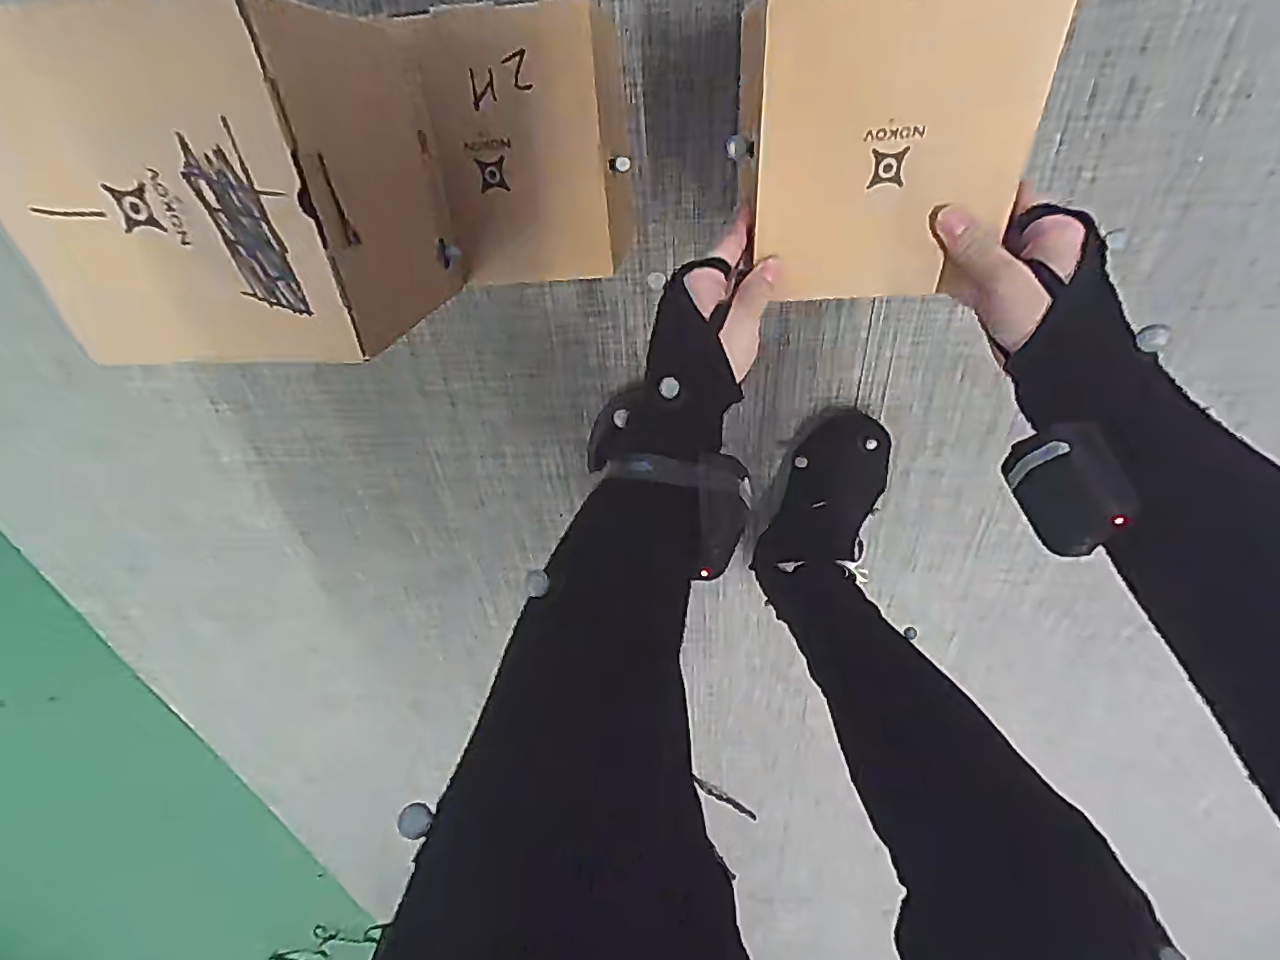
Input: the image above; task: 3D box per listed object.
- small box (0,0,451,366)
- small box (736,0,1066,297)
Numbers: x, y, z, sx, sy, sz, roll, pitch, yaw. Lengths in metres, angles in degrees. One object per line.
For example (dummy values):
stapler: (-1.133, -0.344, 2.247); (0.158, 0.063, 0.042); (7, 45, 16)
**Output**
small box: (-0.237, -0.182, 0.342); (0.179, 0.176, 0.168); (1, 124, 5)
small box: (0.162, -0.254, 0.406); (0.168, 0.176, 0.179); (-1, 126, 7)
